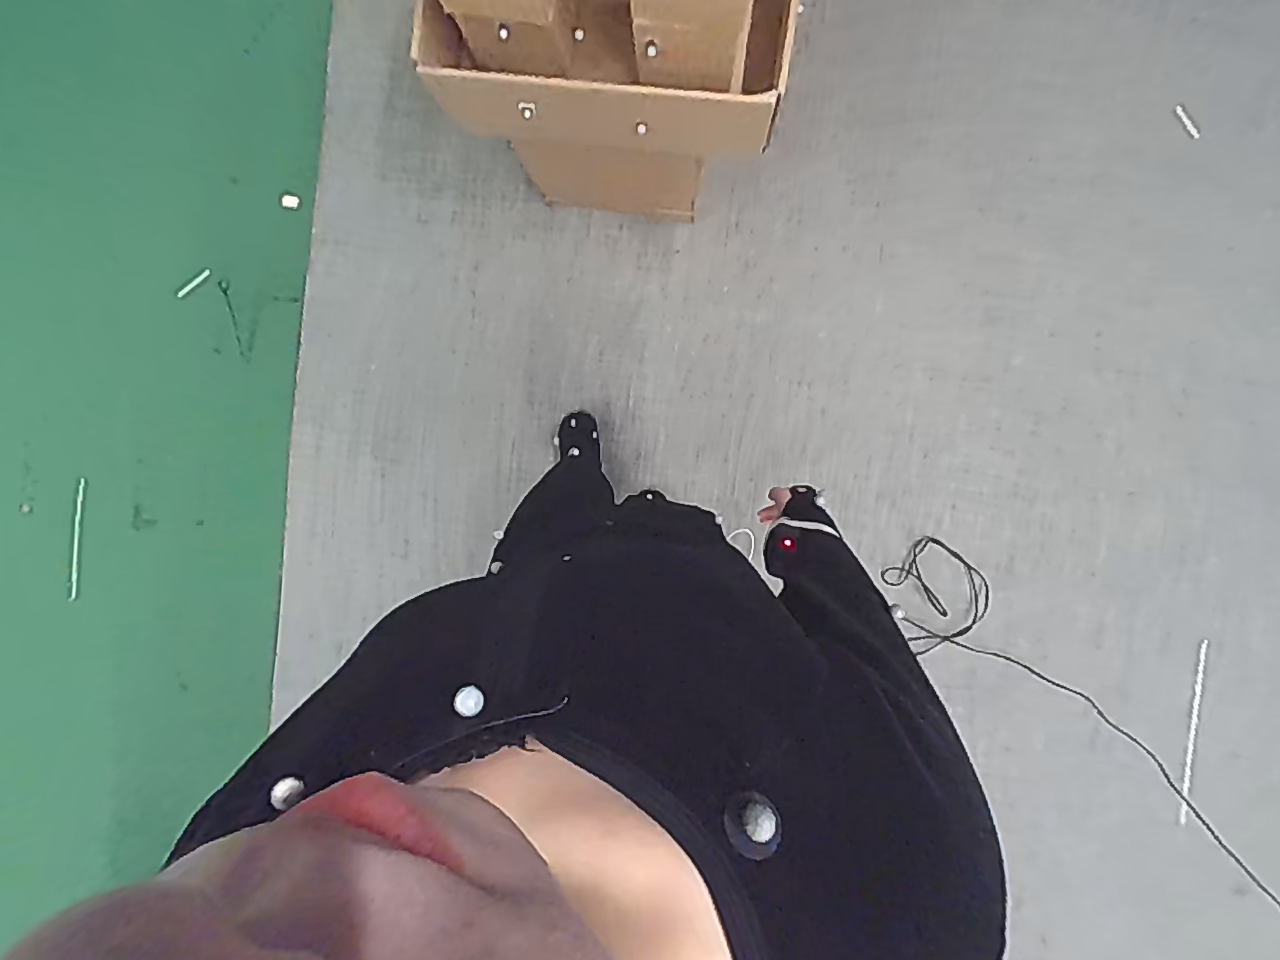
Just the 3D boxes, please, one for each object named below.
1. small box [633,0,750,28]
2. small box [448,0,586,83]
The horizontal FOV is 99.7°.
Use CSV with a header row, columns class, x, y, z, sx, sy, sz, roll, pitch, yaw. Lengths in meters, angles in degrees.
class,x,y,z,sx,sy,sz,roll,pitch,yaw
small box,0.082,-0.770,0.739,0.179,0.176,0.168,11,93,3
small box,-0.202,-0.822,0.925,0.179,0.176,0.168,10,93,3
